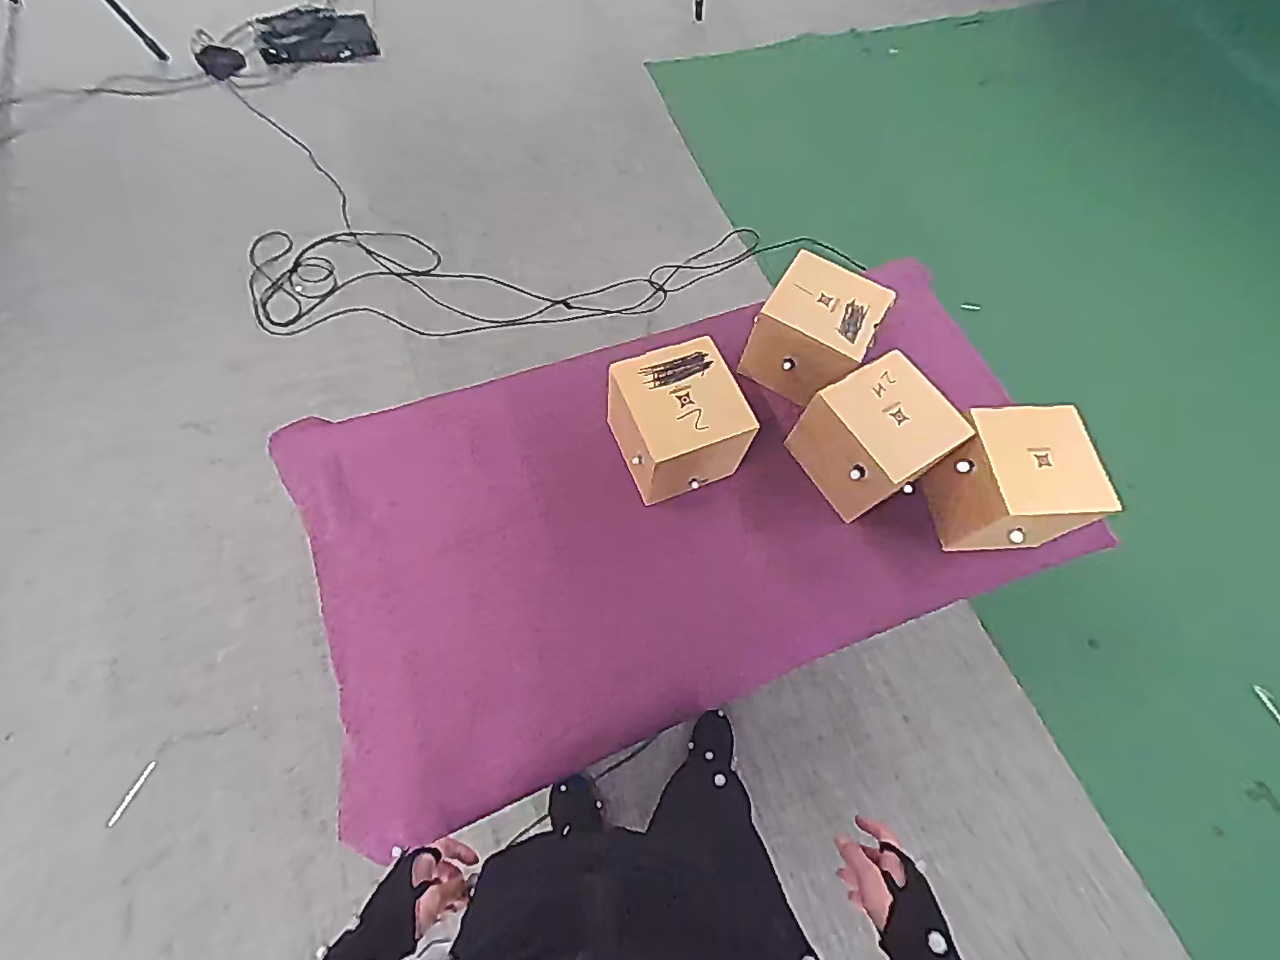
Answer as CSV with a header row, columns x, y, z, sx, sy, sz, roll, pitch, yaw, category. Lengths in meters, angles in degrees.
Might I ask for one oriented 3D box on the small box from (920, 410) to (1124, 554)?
x,y,z,sx,sy,sz,roll,pitch,yaw,category
0.571,0.011,0.838,0.168,0.176,0.179,-2,64,-4,small box
